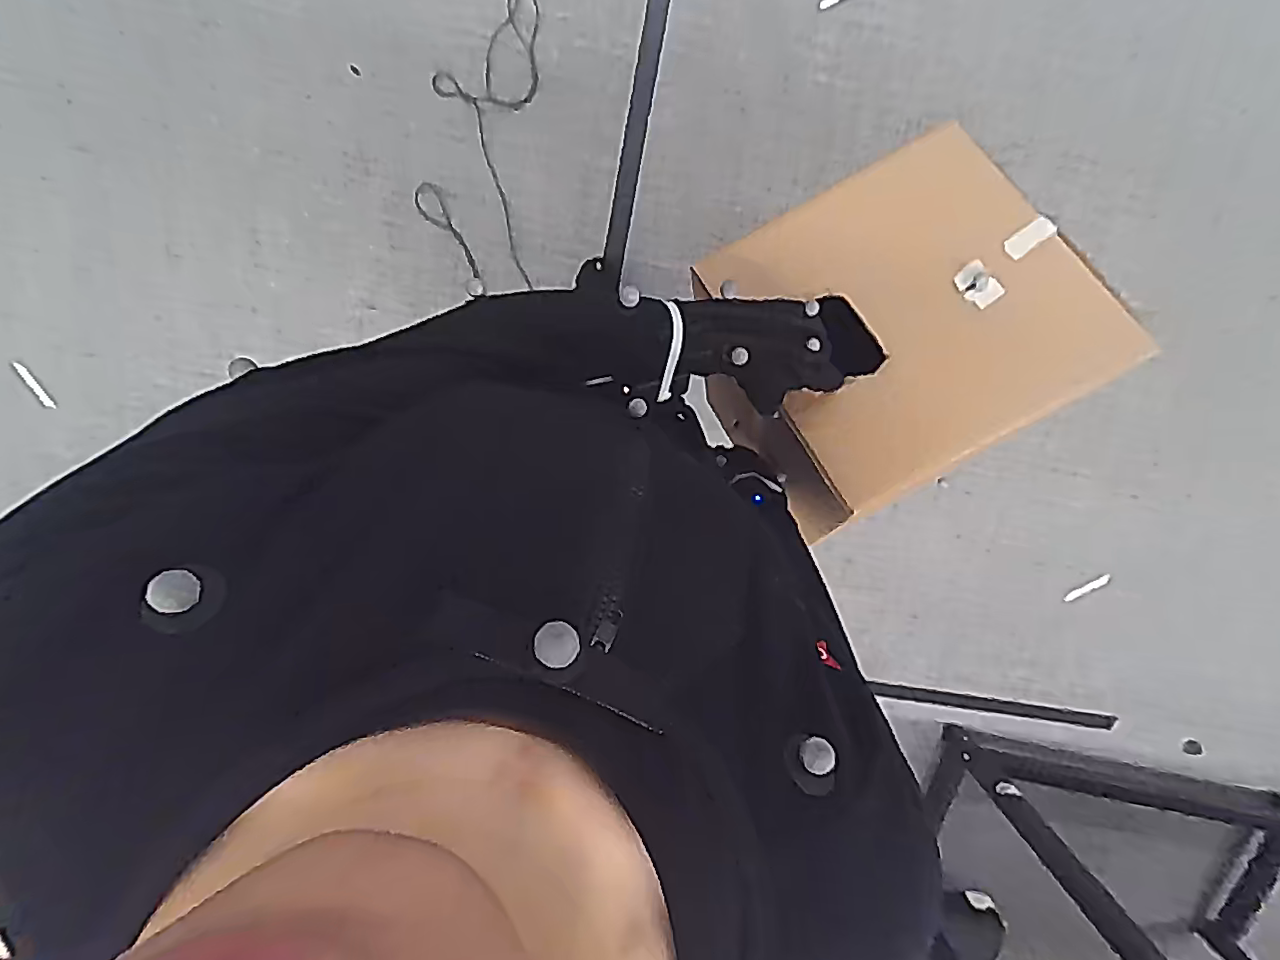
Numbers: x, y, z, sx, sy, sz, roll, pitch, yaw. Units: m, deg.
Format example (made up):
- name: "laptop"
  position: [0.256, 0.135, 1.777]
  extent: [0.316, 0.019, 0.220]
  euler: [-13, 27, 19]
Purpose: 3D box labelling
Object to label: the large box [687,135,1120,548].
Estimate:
- name: "large box"
  position: [0.286, -0.132, 0.727]
  extent: [0.320, 0.408, 0.320]
  euler: [-27, 74, 4]
